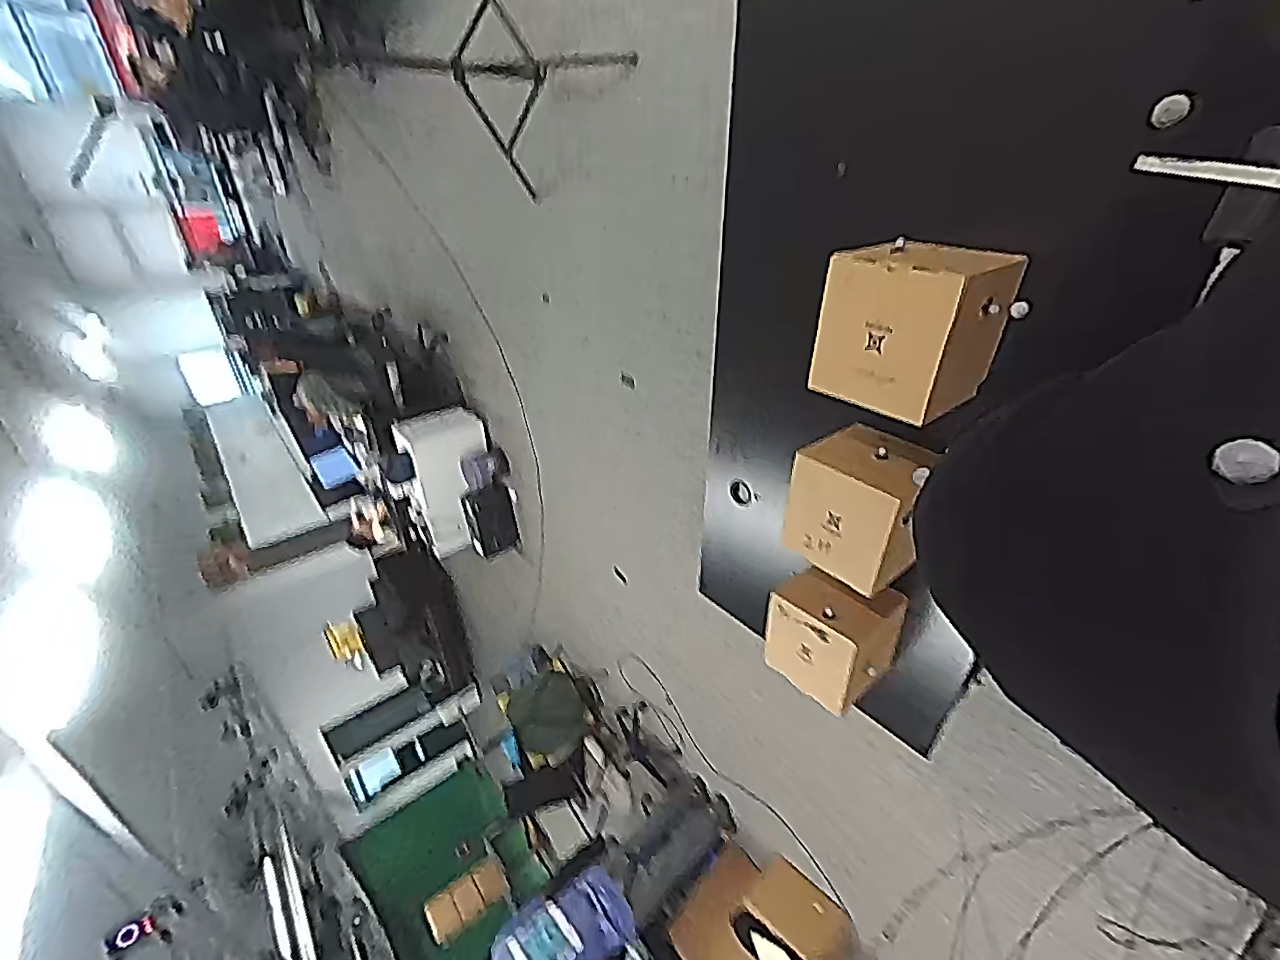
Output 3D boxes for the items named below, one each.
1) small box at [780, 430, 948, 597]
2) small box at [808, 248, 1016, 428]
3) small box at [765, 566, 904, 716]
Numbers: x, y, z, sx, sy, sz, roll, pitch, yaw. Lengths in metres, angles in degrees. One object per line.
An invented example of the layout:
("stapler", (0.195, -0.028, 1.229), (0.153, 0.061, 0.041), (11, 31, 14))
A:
("small box", (0.346, 0.041, 0.841), (0.168, 0.176, 0.179), (33, 135, 42))
("small box", (0.348, -0.195, 0.701), (0.168, 0.176, 0.179), (33, 135, 43))
("small box", (0.349, 0.276, 0.980), (0.168, 0.176, 0.179), (29, 132, 43))
